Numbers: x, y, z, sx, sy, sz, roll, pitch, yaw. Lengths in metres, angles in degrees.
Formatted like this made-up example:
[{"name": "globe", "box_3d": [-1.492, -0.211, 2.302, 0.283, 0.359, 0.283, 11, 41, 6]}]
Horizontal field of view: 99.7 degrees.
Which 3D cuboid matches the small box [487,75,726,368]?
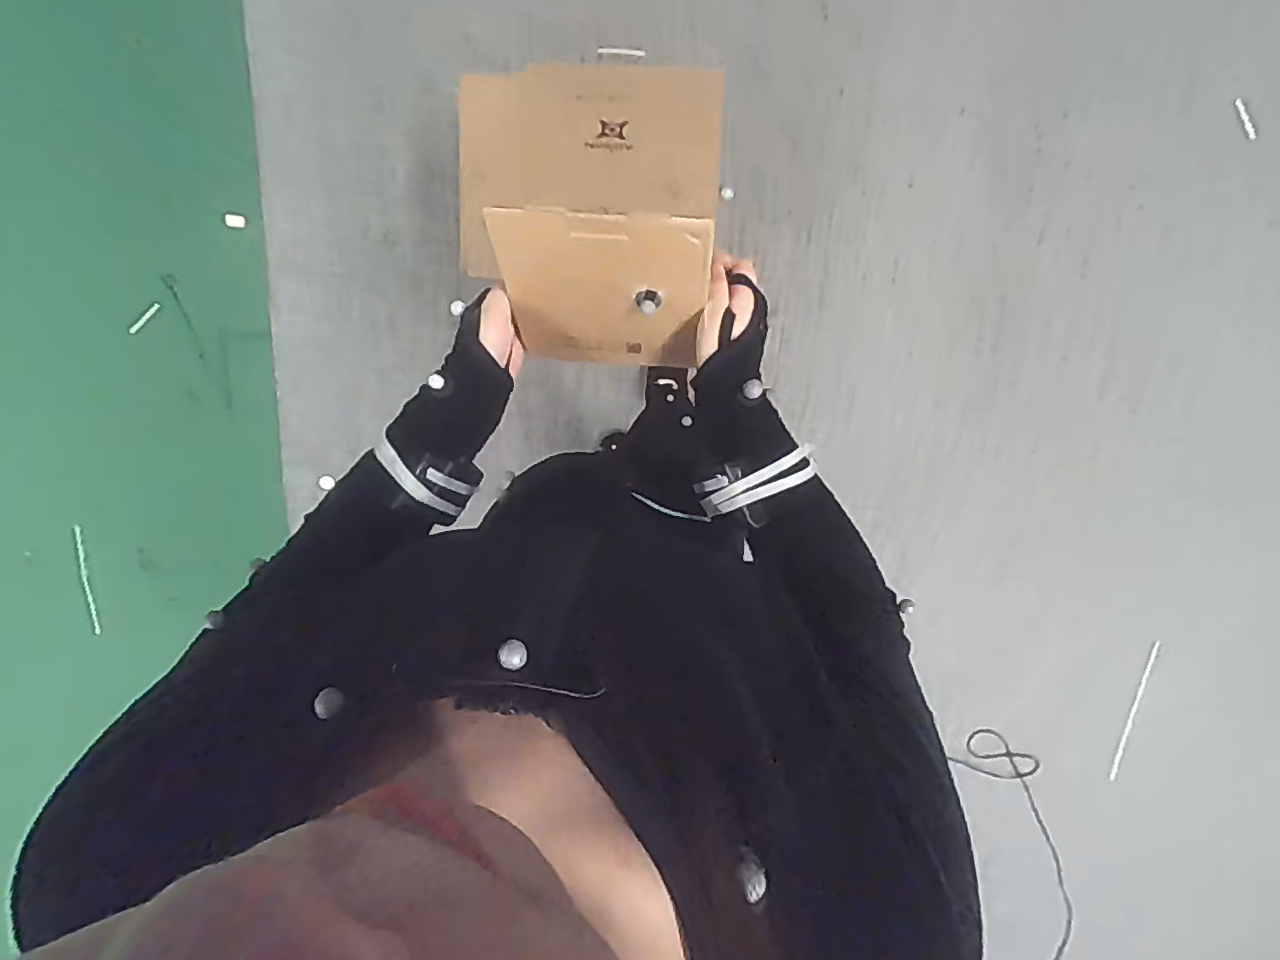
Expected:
[{"name": "small box", "box_3d": [-0.018, -0.220, 0.483, 0.168, 0.176, 0.179, 5, 63, 3]}]
